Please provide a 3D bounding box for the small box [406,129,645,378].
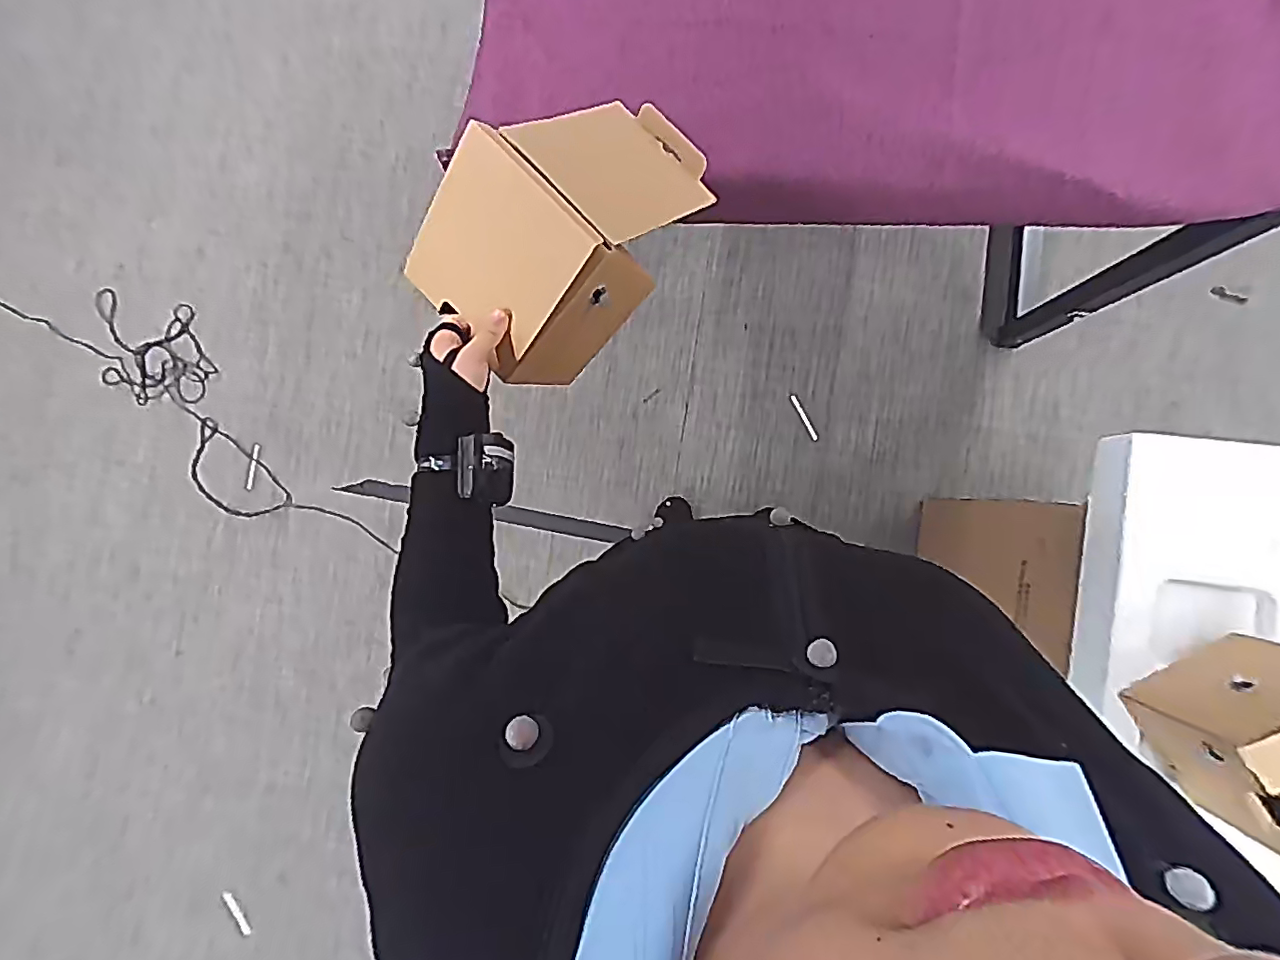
[{"bbox_3d":[-0.113,-0.233,0.610,0.168,0.176,0.179,47,108,6],"label":"small box"}]
